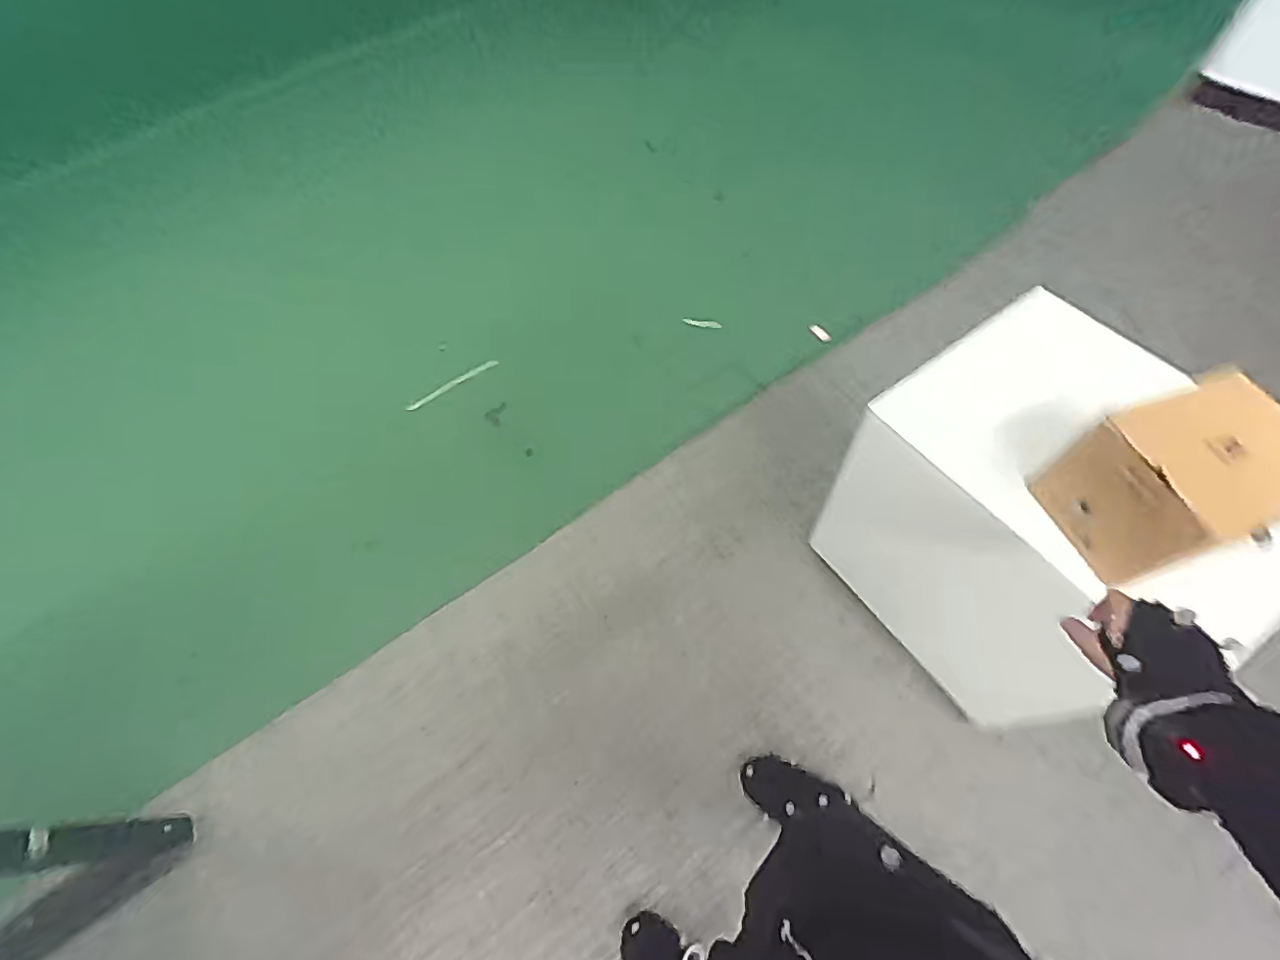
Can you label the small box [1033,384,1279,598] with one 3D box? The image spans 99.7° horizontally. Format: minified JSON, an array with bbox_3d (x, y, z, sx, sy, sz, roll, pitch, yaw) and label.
[{"bbox_3d":[0.629,0.020,0.640,0.179,0.176,0.168,-18,61,-3],"label":"small box"}]
